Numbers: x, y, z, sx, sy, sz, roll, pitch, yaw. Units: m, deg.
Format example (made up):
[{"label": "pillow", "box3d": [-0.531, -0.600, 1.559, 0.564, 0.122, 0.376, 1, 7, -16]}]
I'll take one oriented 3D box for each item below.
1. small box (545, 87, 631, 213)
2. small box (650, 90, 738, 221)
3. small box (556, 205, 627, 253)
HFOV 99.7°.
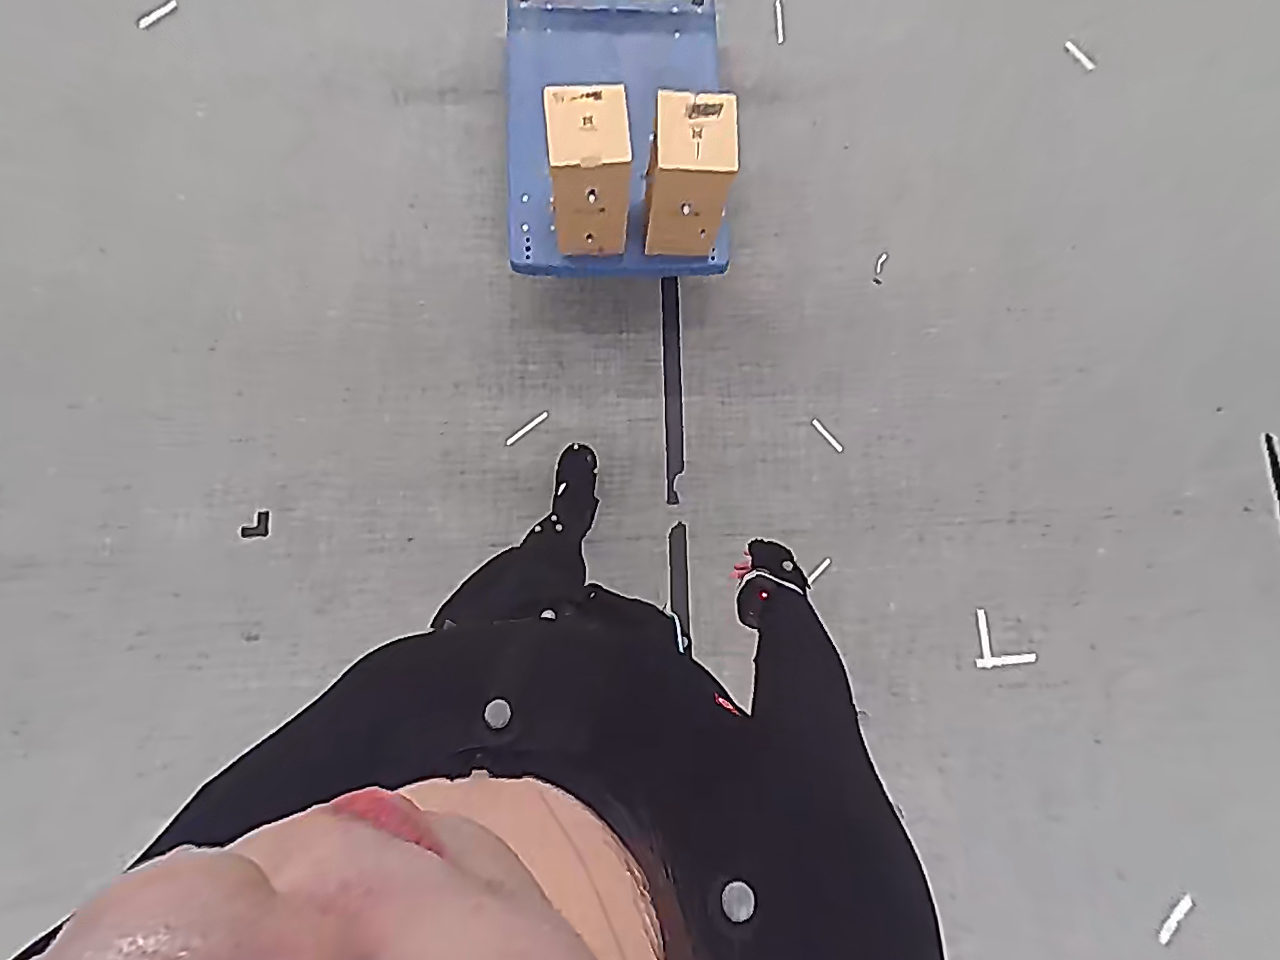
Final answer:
[{"label": "small box", "box3d": [-0.109, -0.696, 1.160, 0.168, 0.176, 0.179, -4, 83, -5]}, {"label": "small box", "box3d": [0.112, -0.697, 1.175, 0.168, 0.176, 0.179, 1, 83, -5]}, {"label": "small box", "box3d": [-0.119, -0.676, 1.324, 0.168, 0.176, 0.179, -3, 82, -5]}]
